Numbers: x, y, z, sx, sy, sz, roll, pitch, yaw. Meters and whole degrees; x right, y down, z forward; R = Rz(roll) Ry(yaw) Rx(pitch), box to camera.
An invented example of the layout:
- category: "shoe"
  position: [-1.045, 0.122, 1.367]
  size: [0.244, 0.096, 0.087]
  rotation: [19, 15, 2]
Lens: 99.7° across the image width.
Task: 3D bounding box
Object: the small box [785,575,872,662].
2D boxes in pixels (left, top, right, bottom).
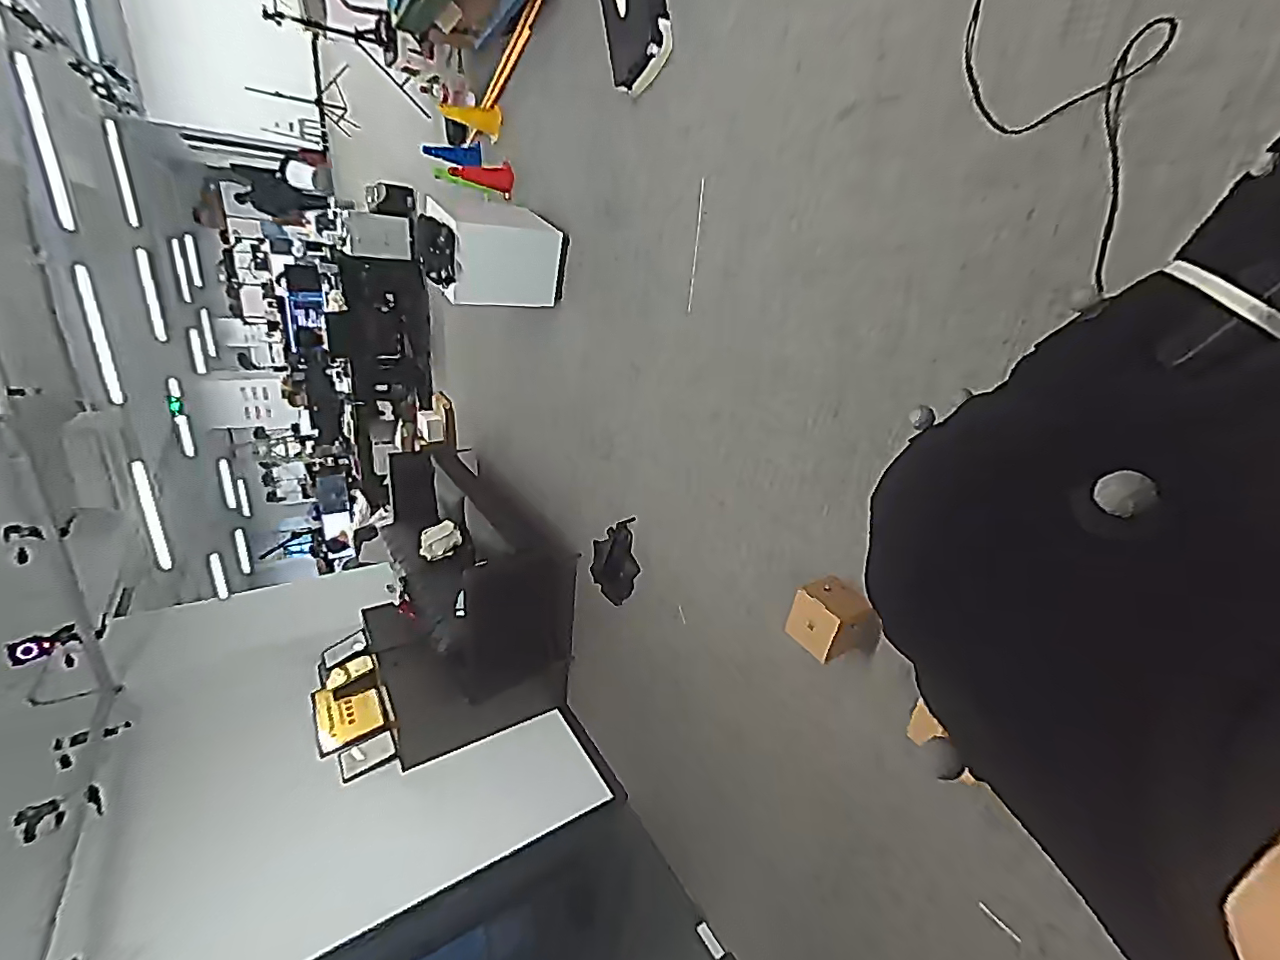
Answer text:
- category: "small box"
  position: [0.586, 0.420, 1.673]
  size: [0.168, 0.176, 0.179]
  rotation: [40, 131, 47]
